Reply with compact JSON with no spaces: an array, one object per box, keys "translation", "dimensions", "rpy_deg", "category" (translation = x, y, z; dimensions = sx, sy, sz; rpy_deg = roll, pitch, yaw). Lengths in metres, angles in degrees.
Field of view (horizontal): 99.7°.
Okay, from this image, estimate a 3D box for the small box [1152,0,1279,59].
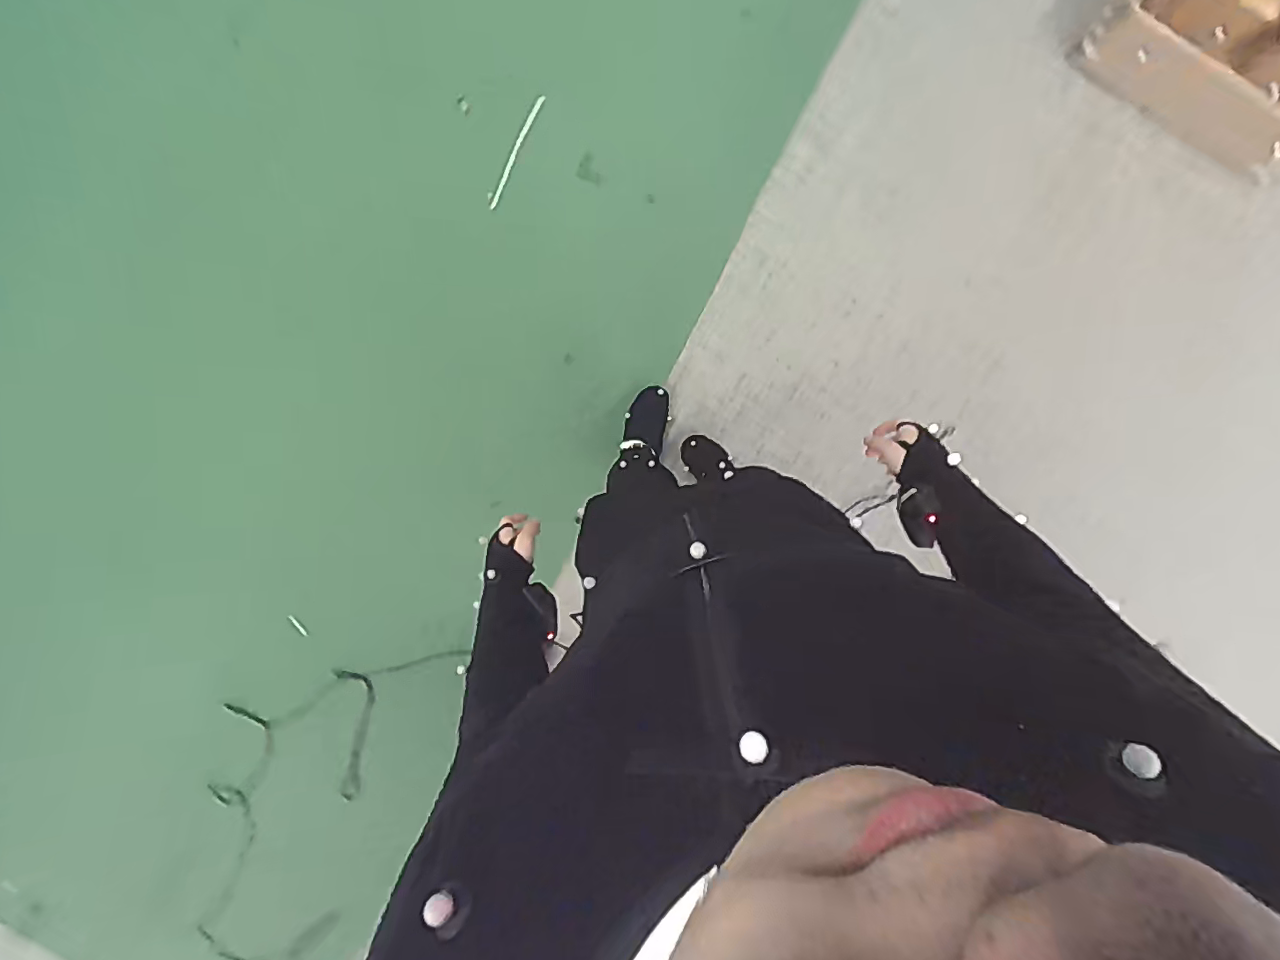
[{"translation":[1.337,-1.119,1.229],"dimensions":[0.168,0.176,0.179],"rpy_deg":[27,100,-4],"category":"small box"}]
